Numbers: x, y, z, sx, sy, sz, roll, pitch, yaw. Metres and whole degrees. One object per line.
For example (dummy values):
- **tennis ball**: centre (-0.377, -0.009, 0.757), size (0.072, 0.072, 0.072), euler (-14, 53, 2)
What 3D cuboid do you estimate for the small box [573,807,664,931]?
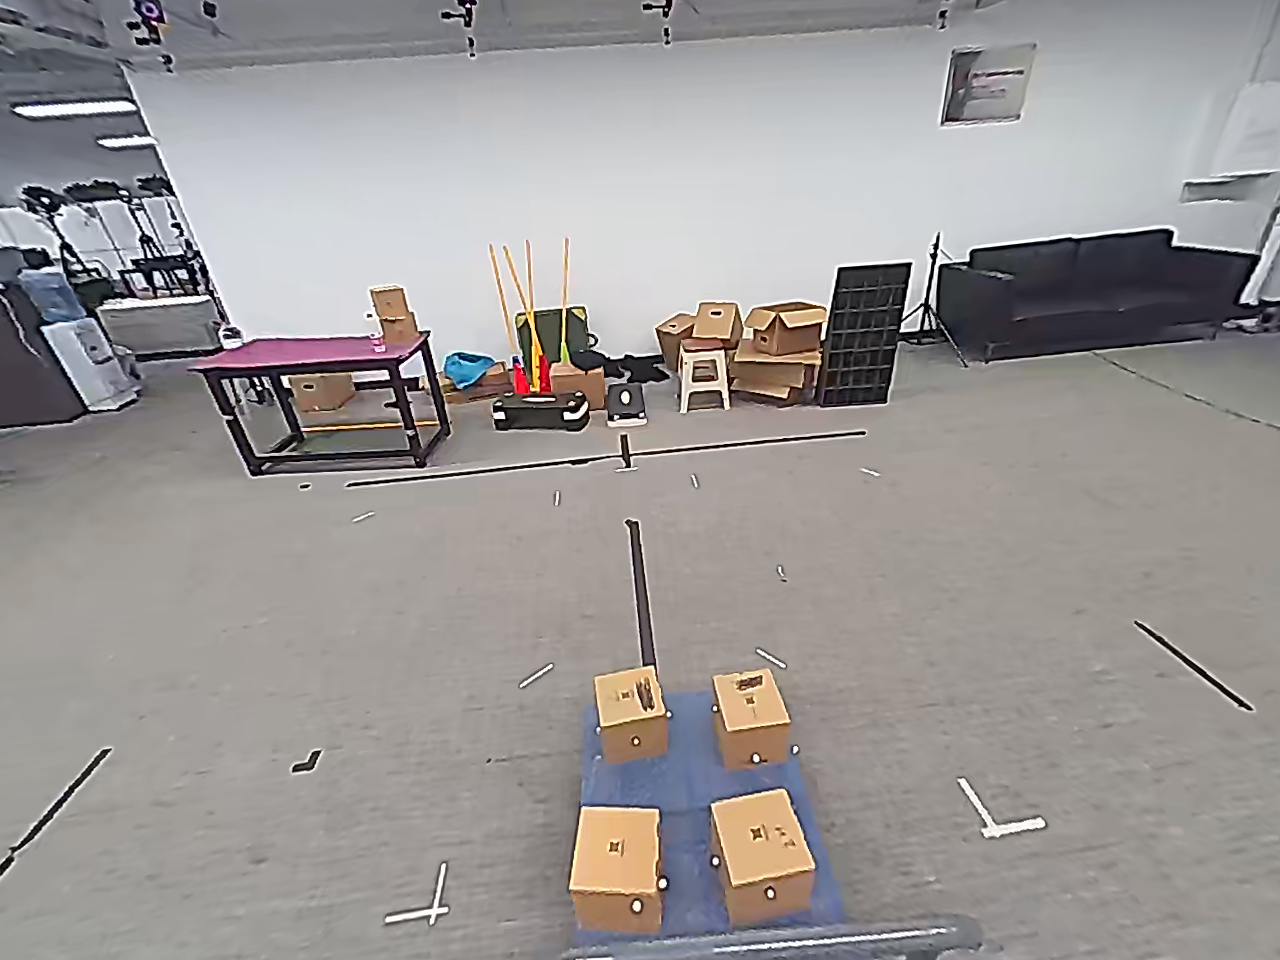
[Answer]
- **small box**: centre (-0.040, 0.845, 1.178), size (0.179, 0.176, 0.168), euler (-1, 29, 4)

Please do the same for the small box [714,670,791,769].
- **small box**: centre (0.299, 0.651, 1.475), size (0.168, 0.176, 0.179), euler (-7, 30, -3)

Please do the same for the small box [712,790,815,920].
- **small box**: centre (0.263, 0.819, 1.182), size (0.179, 0.176, 0.168), euler (-8, 29, -5)
